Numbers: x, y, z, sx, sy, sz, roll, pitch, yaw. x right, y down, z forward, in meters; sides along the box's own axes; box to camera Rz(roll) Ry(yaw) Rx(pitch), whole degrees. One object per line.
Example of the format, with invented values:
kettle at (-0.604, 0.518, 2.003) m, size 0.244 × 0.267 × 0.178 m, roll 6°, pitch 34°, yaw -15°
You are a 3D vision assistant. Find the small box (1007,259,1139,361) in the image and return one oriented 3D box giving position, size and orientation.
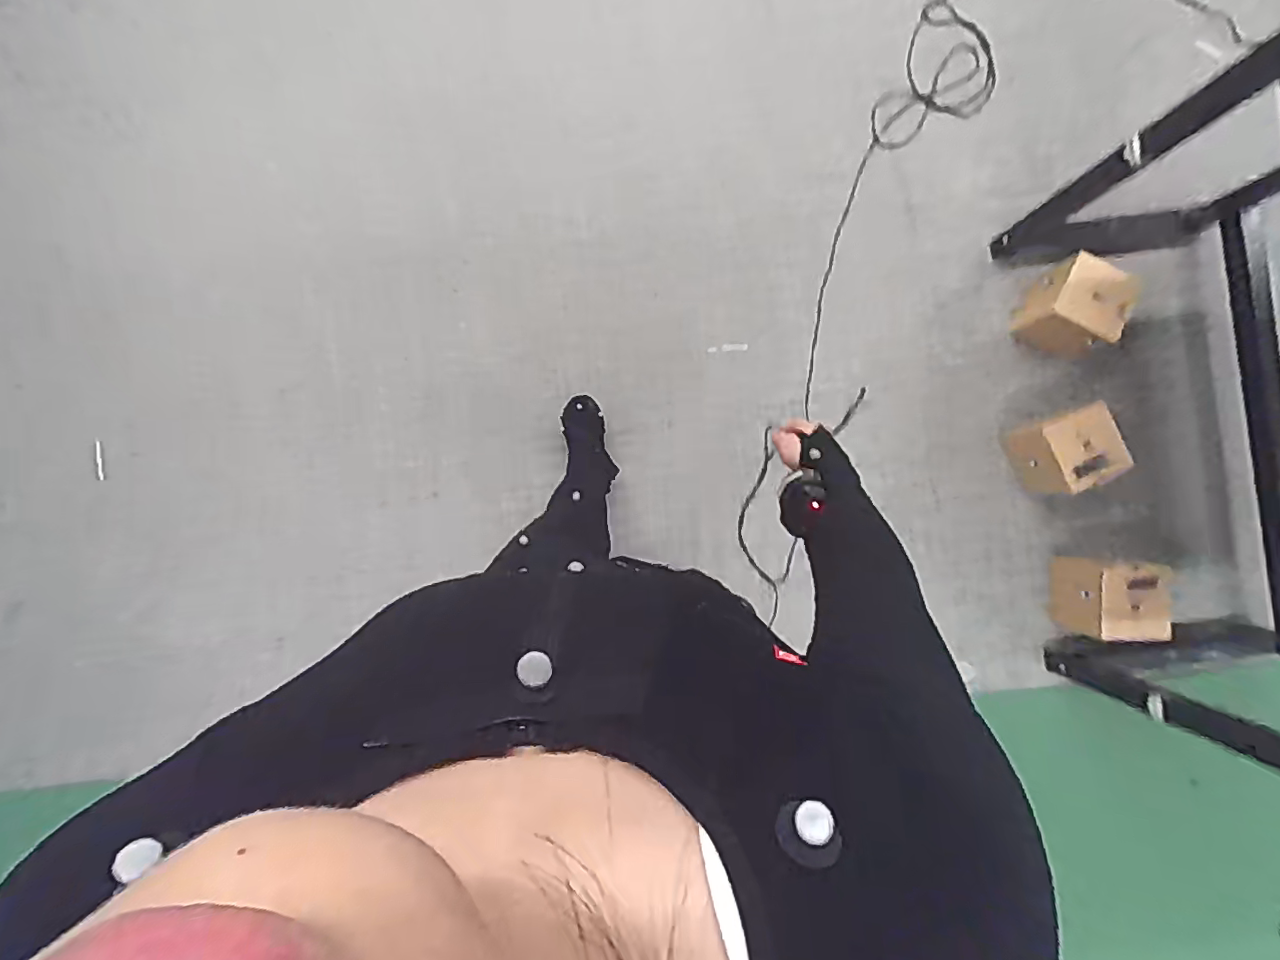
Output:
small box at (1.102, -0.427, 1.392) m, size 0.179 × 0.176 × 0.168 m, roll 26°, pitch 88°, yaw 1°

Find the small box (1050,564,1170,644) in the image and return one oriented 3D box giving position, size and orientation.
small box at (1.174, 0.305, 1.363) m, size 0.168 × 0.176 × 0.179 m, roll -1°, pitch 89°, yaw 1°
